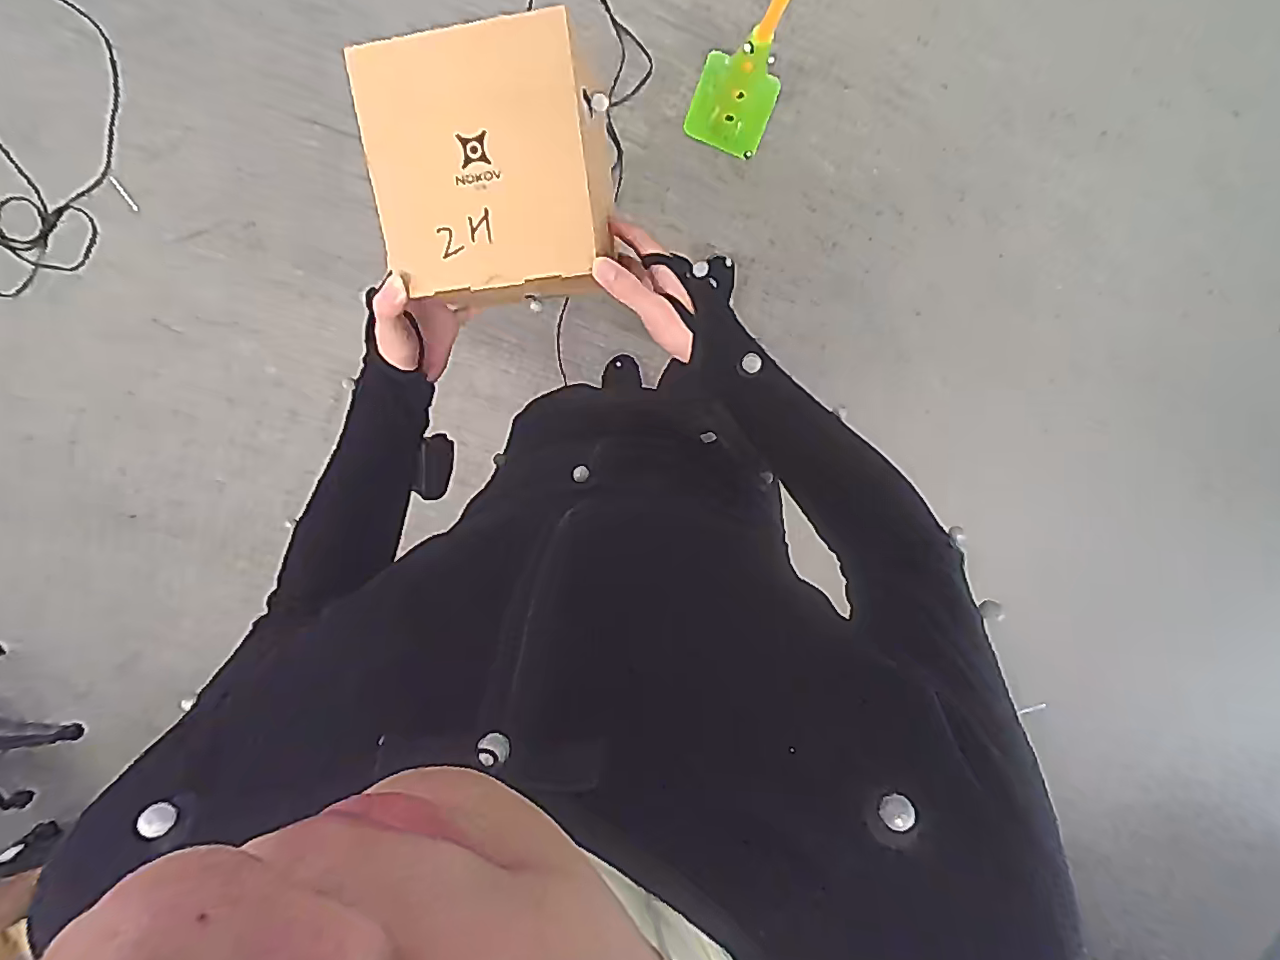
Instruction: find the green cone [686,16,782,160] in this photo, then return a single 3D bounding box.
[{"bbox_3d":[0.235,-0.899,1.194,0.202,0.368,0.200,20,103,-5],"label":"green cone"}]
